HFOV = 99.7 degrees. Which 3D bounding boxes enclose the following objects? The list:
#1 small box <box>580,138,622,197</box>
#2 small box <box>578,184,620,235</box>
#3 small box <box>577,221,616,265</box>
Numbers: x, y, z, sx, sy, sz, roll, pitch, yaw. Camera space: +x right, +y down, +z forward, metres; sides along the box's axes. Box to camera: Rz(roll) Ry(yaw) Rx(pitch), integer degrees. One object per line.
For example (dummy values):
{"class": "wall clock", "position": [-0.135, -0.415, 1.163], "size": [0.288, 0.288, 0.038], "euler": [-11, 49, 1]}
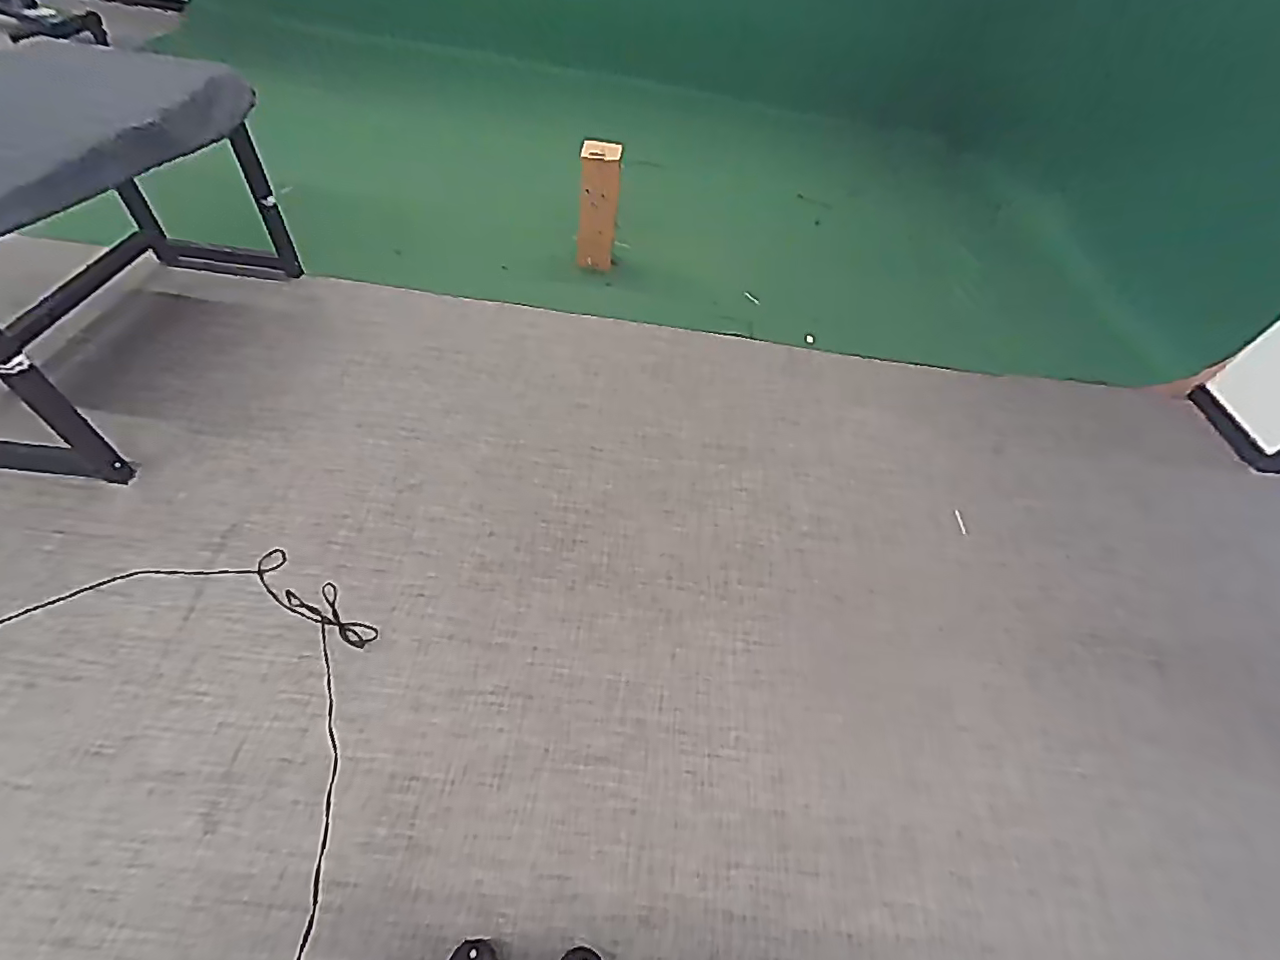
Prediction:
{"class": "small box", "position": [-0.169, -1.358, 2.355], "size": [0.168, 0.176, 0.179], "euler": [7, 50, -3]}
{"class": "small box", "position": [-0.189, -1.254, 2.482], "size": [0.168, 0.176, 0.179], "euler": [8, 50, -2]}
{"class": "small box", "position": [-0.210, -1.164, 2.593], "size": [0.168, 0.176, 0.179], "euler": [8, 51, 0]}
